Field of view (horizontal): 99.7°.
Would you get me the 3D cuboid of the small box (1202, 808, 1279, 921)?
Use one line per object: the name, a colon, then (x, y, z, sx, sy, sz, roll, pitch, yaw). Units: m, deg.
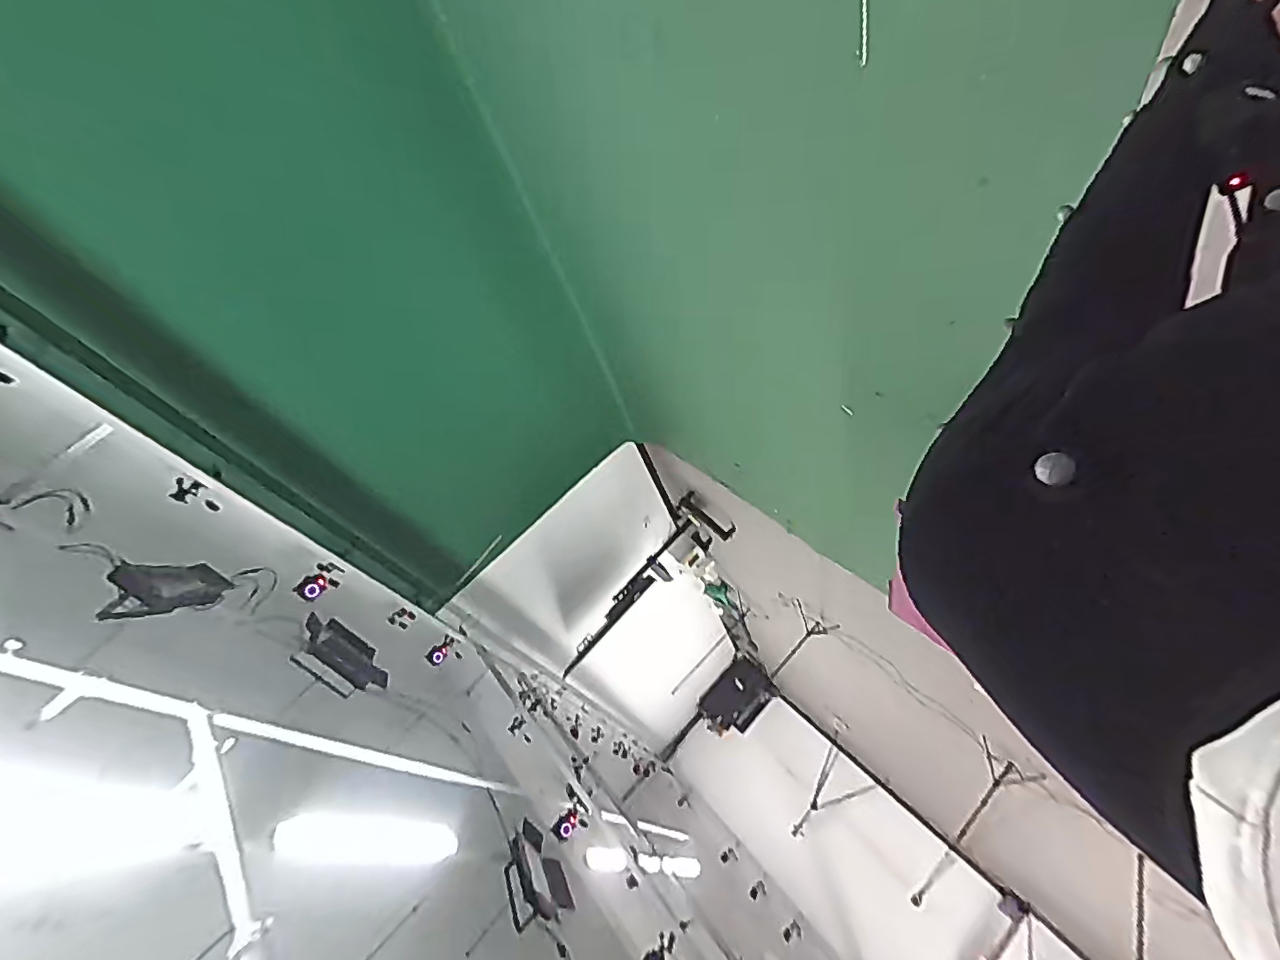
small box: (1.527, 0.925, 1.287, 0.179, 0.176, 0.168, 37, 164, 37)
